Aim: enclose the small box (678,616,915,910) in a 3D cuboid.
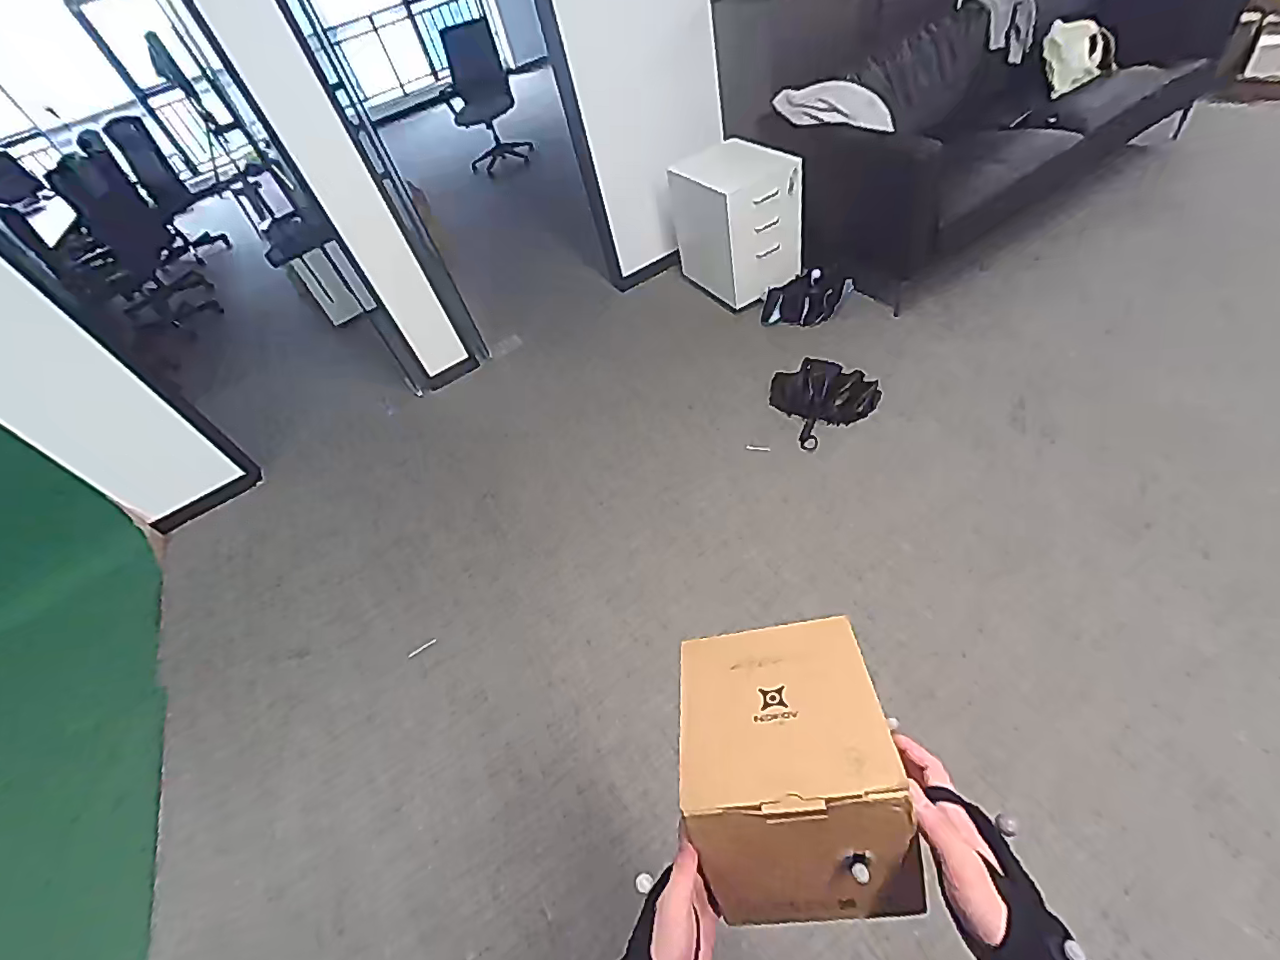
[{"bbox_3d":[0.134,0.256,0.492,0.168,0.176,0.179,-12,25,10],"label":"small box"}]
